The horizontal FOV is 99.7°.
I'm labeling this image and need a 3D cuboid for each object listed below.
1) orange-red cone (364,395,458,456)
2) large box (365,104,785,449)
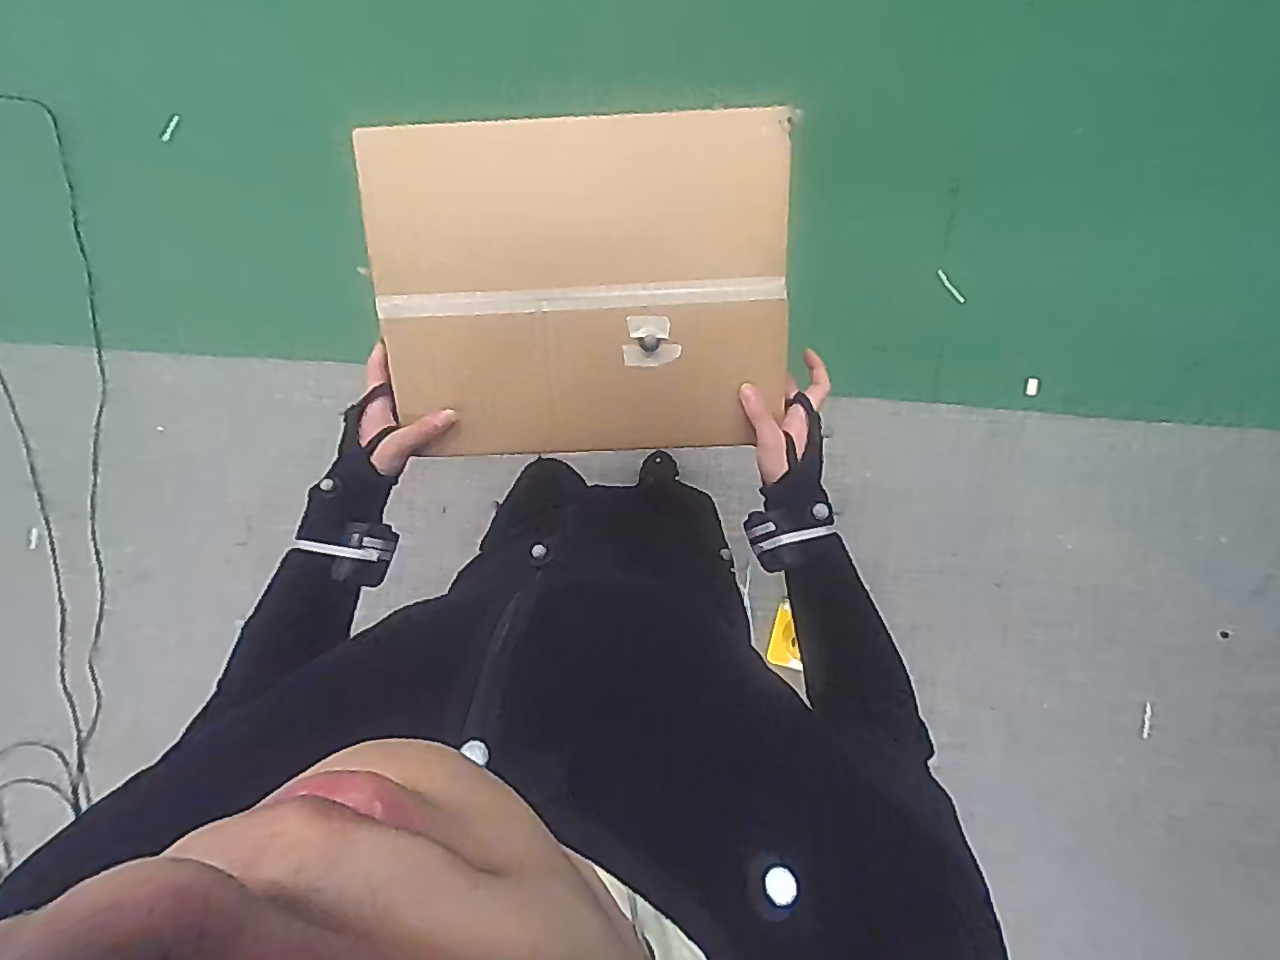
[{"bbox_3d":[-0.637,-0.183,1.467,0.199,0.360,0.198,12,91,3],"label":"orange-red cone"},{"bbox_3d":[-0.057,-0.229,0.687,0.408,0.320,0.320,-2,106,1],"label":"large box"}]
